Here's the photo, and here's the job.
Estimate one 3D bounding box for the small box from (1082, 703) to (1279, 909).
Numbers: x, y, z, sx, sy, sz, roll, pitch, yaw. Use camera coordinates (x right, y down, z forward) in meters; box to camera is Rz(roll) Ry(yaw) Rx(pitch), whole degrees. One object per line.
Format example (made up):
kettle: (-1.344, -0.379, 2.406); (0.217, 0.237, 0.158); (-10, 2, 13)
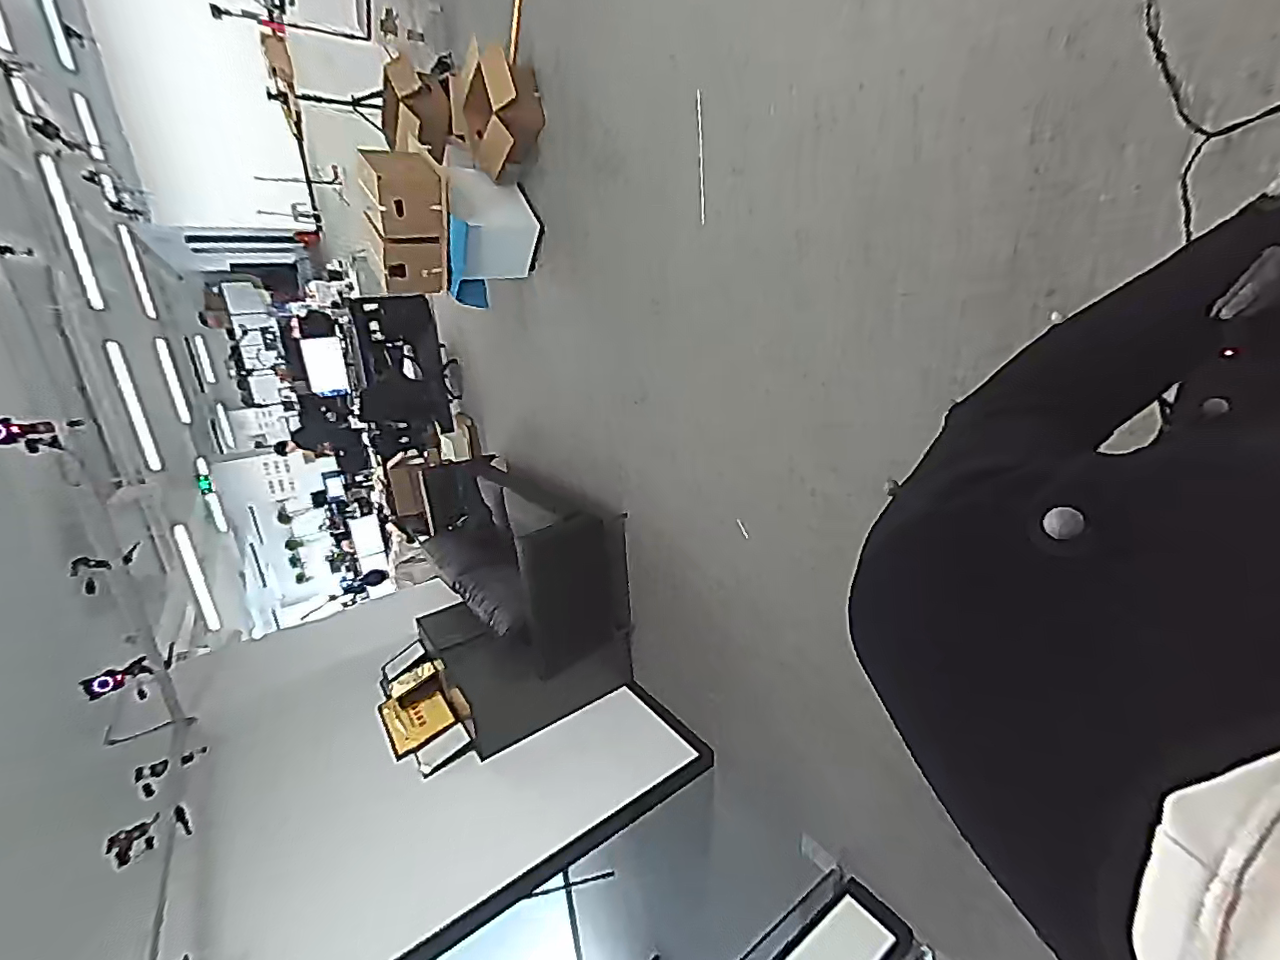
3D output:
small box: (0.836, 0.492, 0.840); (0.168, 0.176, 0.179); (25, 125, 48)
